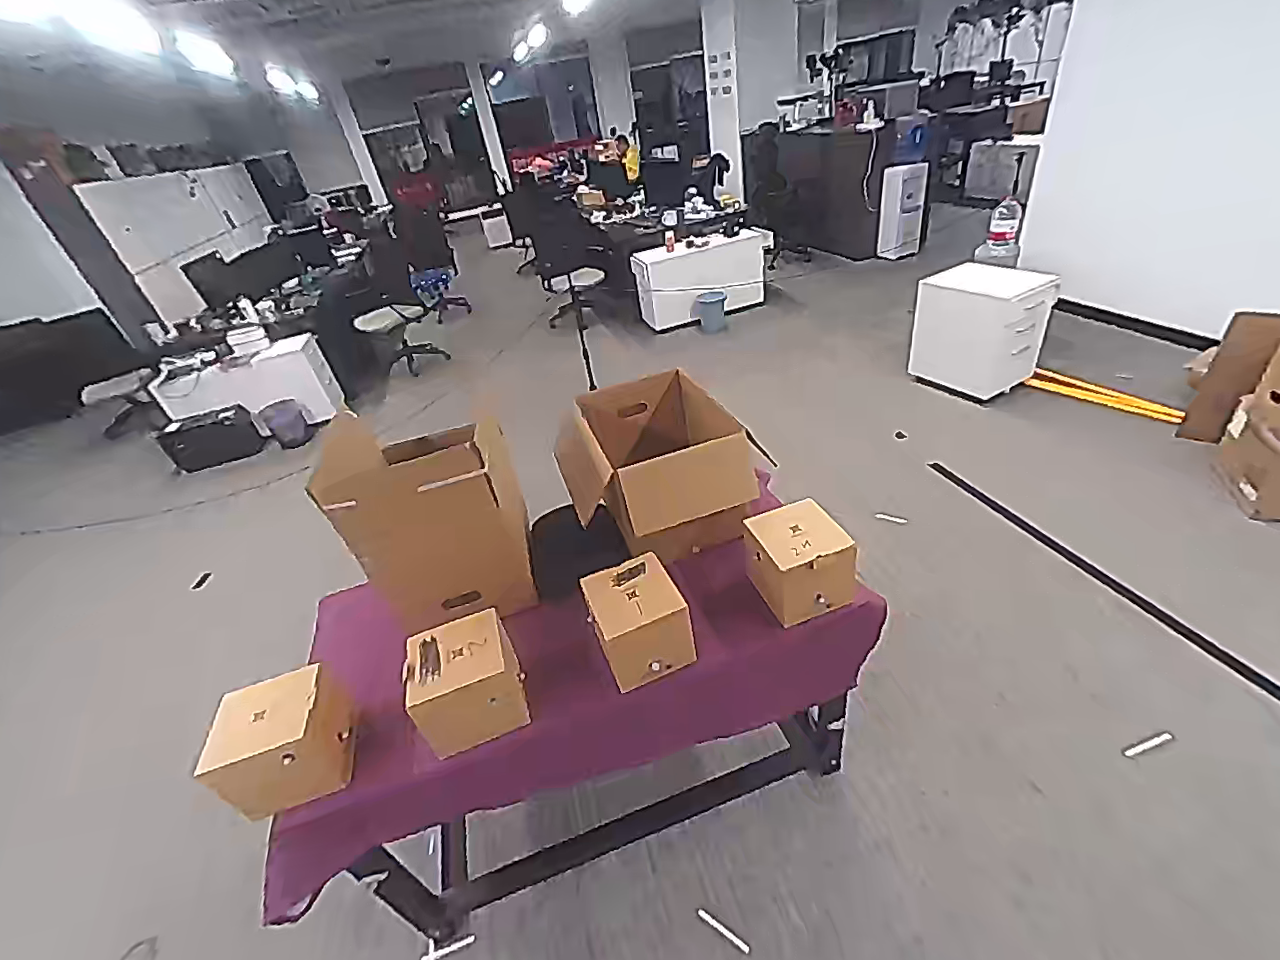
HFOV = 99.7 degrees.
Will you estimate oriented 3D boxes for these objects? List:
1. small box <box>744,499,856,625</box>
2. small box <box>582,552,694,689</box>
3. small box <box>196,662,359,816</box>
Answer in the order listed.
[{"bbox_3d":[0.334,0.173,1.151,0.168,0.176,0.179,-18,35,-7],"label":"small box"},{"bbox_3d":[-0.004,0.283,1.094,0.168,0.176,0.179,-20,36,-12],"label":"small box"},{"bbox_3d":[-0.652,0.479,1.000,0.179,0.176,0.168,-17,35,-10],"label":"small box"}]
